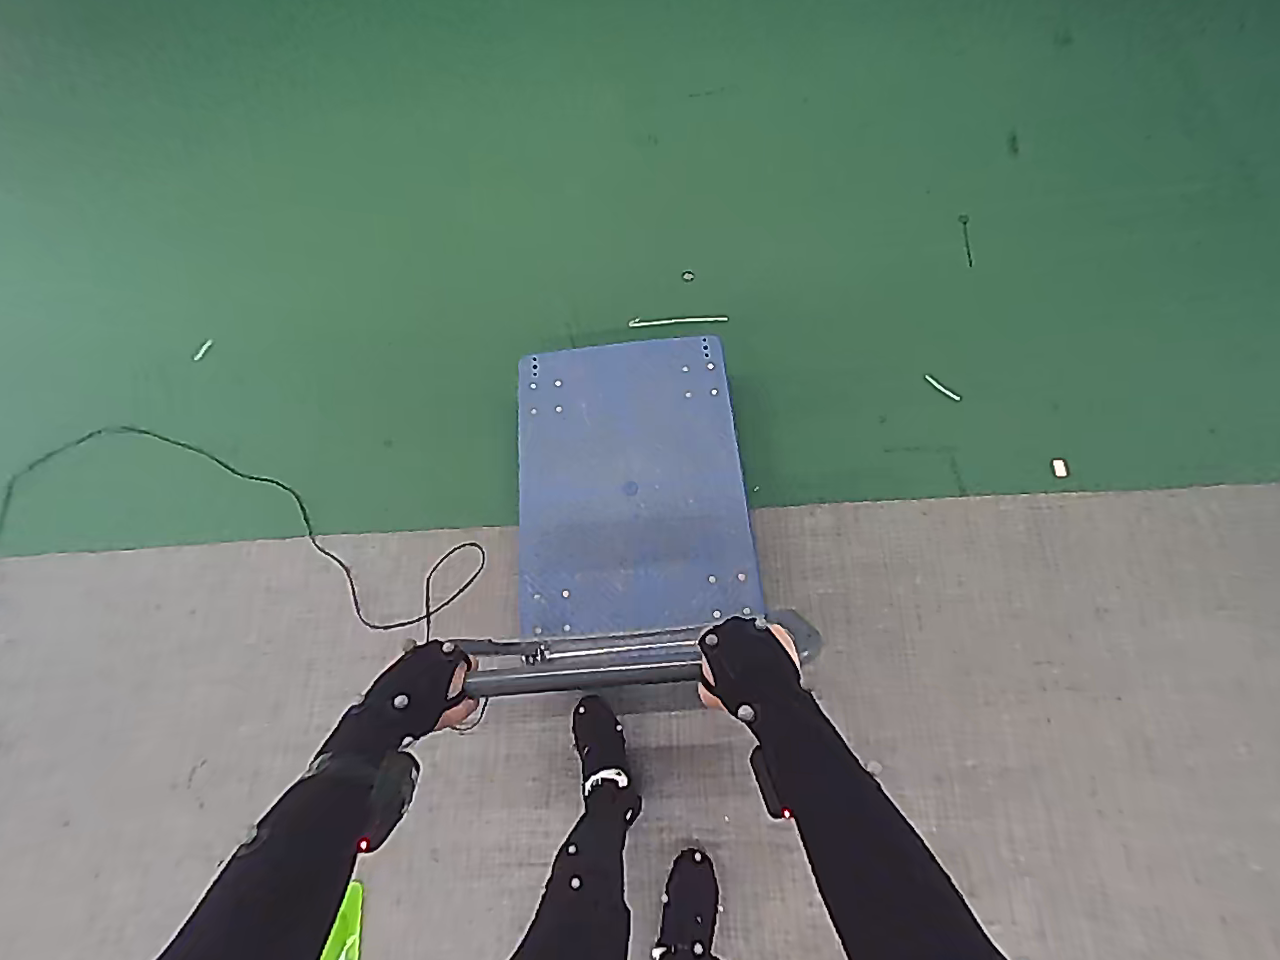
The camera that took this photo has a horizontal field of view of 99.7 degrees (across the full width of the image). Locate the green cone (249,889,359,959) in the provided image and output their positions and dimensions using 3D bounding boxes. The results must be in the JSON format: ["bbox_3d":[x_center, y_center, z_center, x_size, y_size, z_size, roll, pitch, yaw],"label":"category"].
[{"bbox_3d":[-0.755,0.994,1.067,0.202,0.368,0.200,-8,69,3],"label":"green cone"}]
